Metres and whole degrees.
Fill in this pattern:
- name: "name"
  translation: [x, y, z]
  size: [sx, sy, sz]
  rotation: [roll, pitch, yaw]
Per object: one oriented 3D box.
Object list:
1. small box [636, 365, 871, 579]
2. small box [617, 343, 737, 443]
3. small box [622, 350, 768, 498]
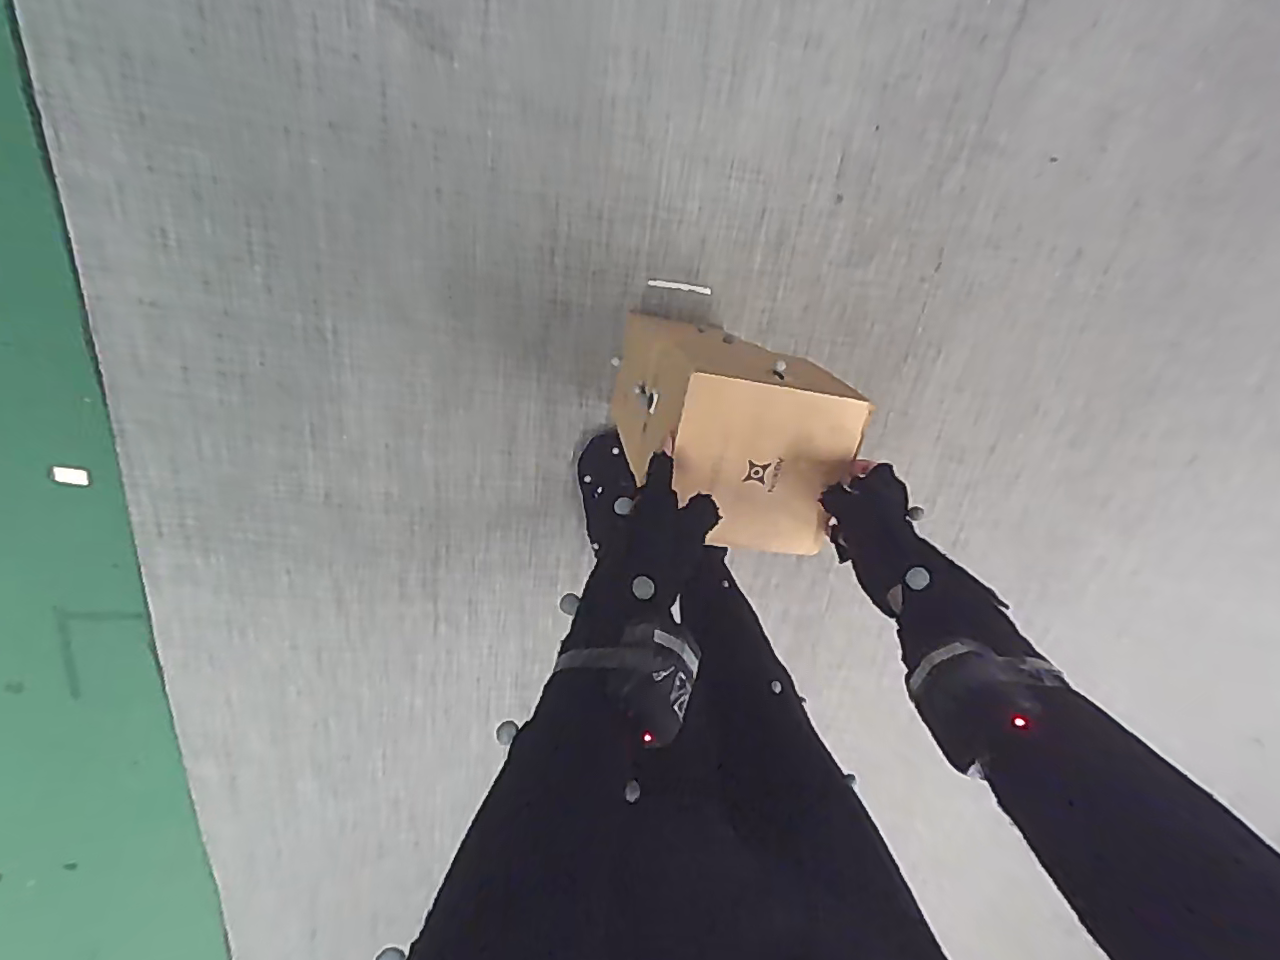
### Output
- name: "small box"
  translation: [0.101, -0.016, 0.573]
  size: [0.179, 0.176, 0.168]
  rotation: [7, 113, -9]
- name: "small box"
  translation: [0.065, -0.125, 0.884]
  size: [0.179, 0.176, 0.168]
  rotation: [4, 111, -10]
- name: "small box"
  translation: [0.082, -0.072, 0.730]
  size: [0.179, 0.176, 0.168]
  rotation: [8, 110, -11]
